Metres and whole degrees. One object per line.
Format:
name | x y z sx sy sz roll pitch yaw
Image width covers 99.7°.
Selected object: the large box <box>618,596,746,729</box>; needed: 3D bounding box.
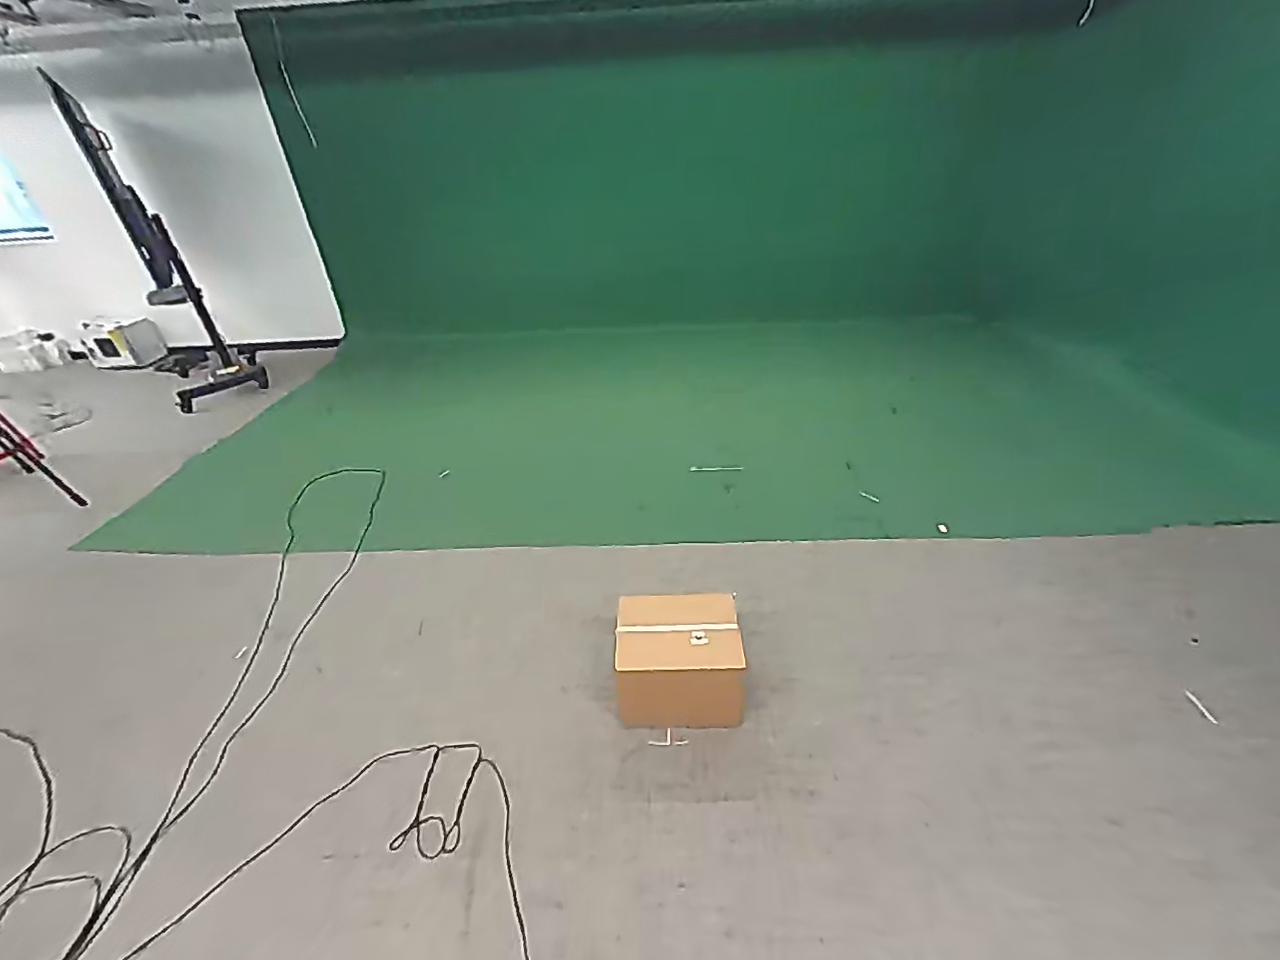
large box | 0.134 0.626 1.868 0.408 0.320 0.320 -2 33 2
